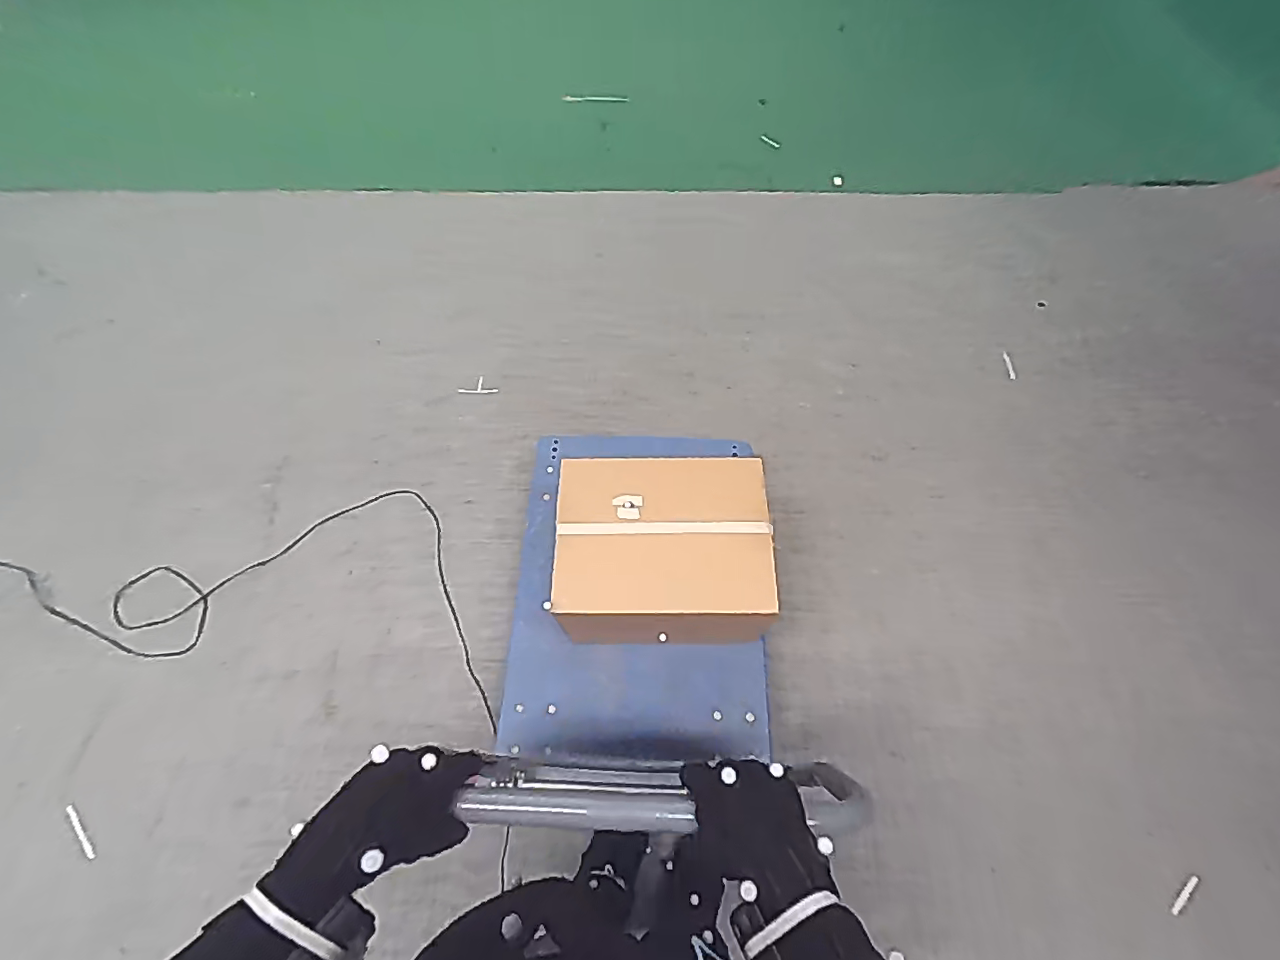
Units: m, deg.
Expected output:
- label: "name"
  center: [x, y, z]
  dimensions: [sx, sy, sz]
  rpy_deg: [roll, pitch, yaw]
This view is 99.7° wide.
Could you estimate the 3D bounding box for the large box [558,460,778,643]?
- label: "large box"
  center: [0.053, 0.168, 1.168]
  dimensions: [0.408, 0.320, 0.320]
  rpy_deg: [-2, 63, 2]
